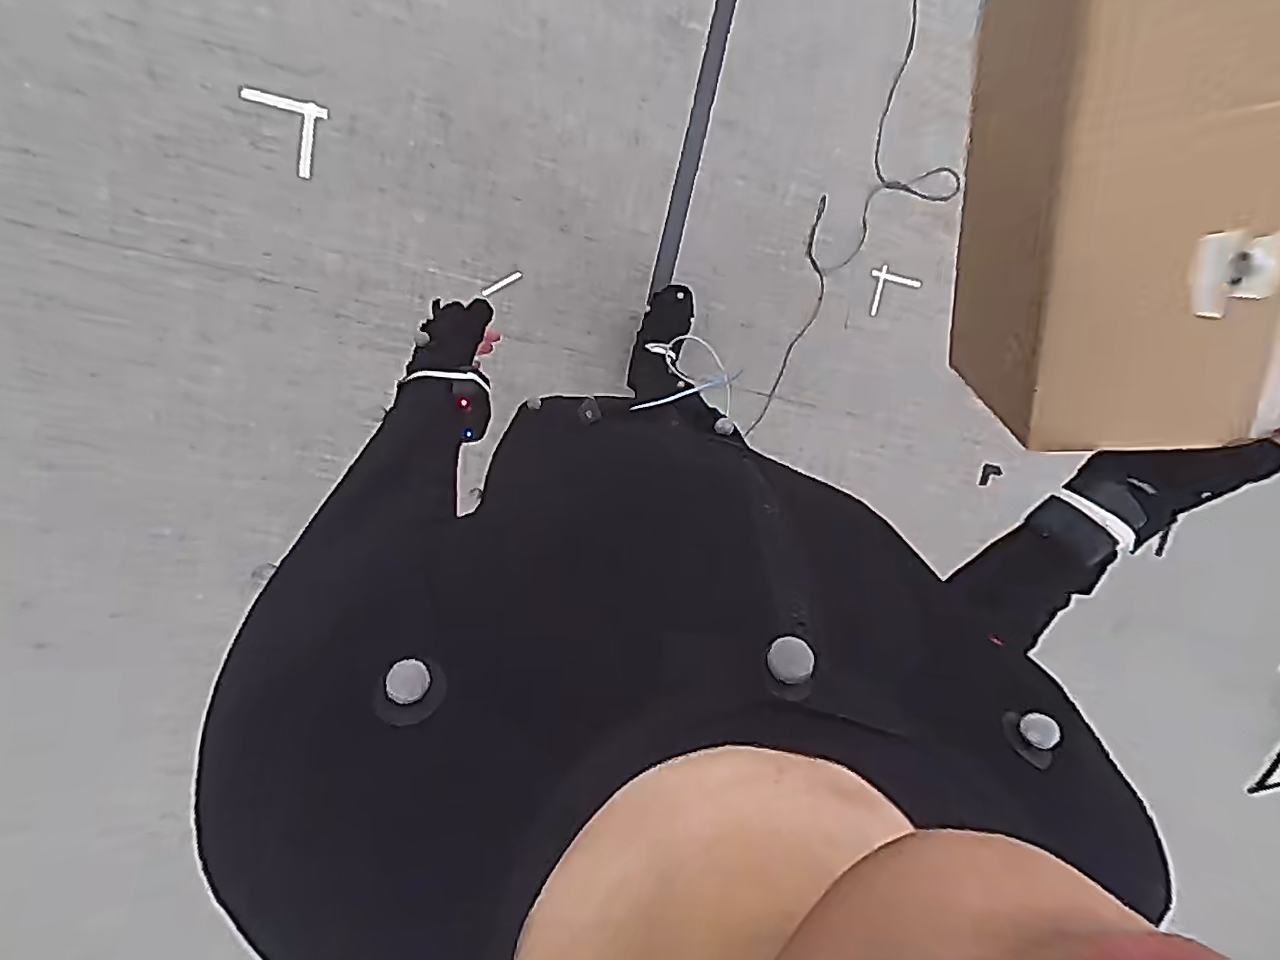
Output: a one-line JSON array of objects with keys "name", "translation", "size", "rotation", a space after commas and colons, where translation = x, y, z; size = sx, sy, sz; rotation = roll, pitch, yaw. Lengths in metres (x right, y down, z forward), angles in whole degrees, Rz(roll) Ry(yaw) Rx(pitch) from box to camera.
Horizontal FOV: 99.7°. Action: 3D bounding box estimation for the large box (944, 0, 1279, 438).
[{"name": "large box", "translation": [0.493, -0.284, 0.478], "size": [0.320, 0.320, 0.408], "rotation": [1, 119, 17]}]
